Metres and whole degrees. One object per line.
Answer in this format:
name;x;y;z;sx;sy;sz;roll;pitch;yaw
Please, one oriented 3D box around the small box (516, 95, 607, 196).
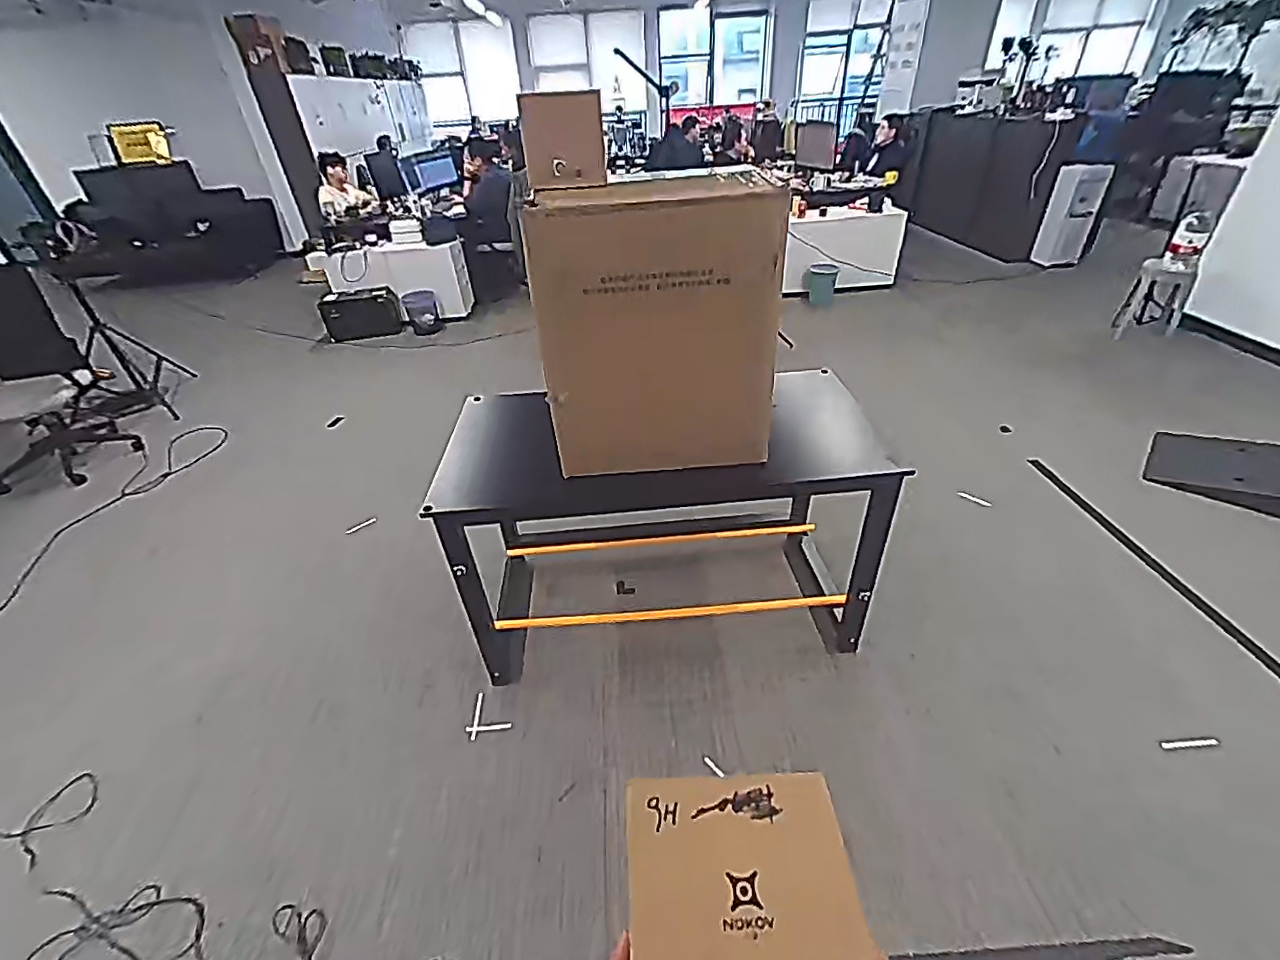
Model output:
small box;-0.163;-0.712;1.153;0.168;0.176;0.179;-7;35;-4
